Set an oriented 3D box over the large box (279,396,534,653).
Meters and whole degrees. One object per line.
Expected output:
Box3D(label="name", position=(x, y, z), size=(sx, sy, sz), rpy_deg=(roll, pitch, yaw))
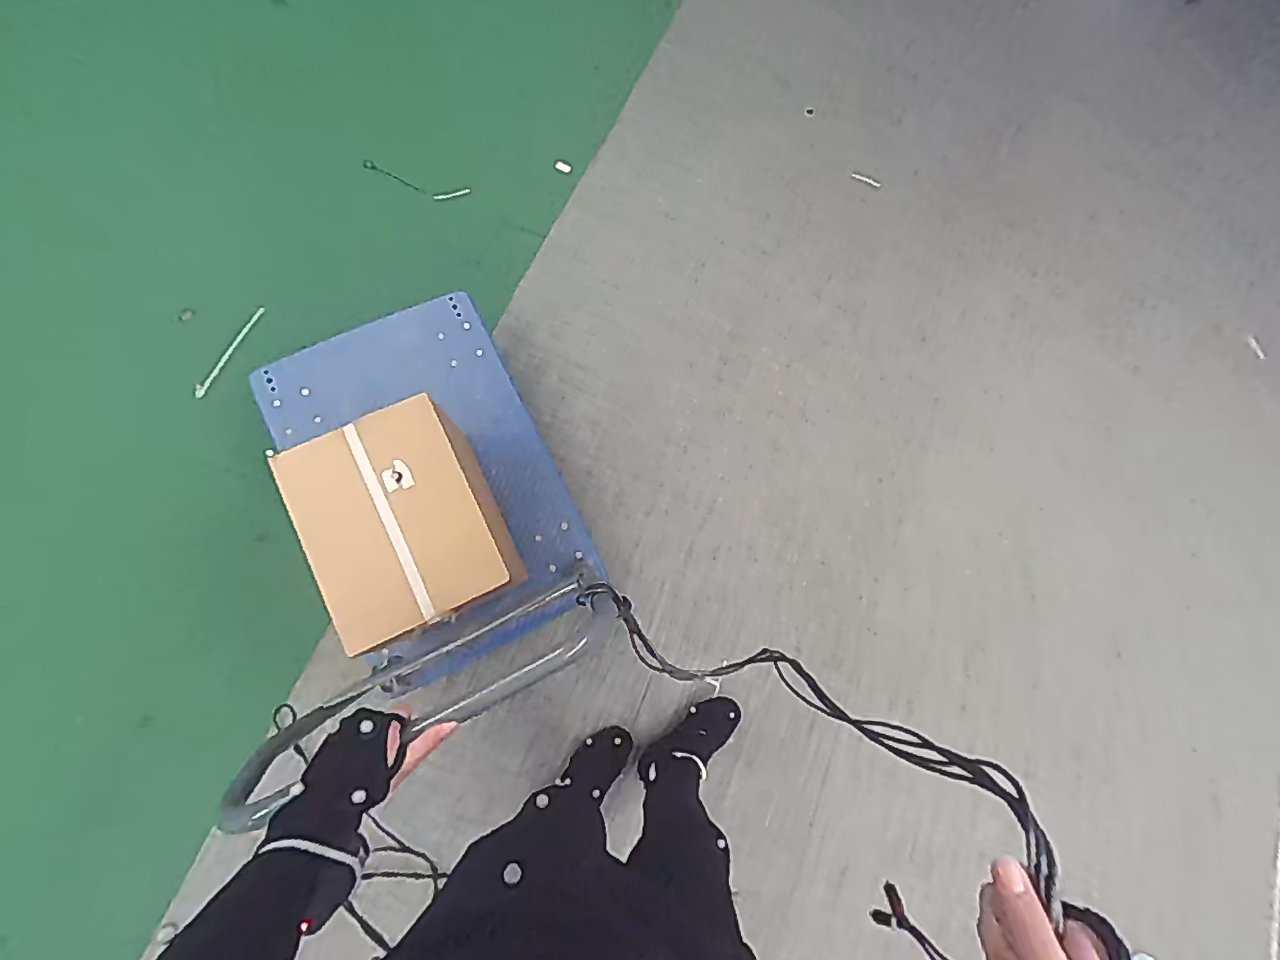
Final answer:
Box3D(label="large box", position=(-0.464, 0.100, 1.154), size=(0.320, 0.320, 0.408), rpy_deg=(-26, 82, -9))
